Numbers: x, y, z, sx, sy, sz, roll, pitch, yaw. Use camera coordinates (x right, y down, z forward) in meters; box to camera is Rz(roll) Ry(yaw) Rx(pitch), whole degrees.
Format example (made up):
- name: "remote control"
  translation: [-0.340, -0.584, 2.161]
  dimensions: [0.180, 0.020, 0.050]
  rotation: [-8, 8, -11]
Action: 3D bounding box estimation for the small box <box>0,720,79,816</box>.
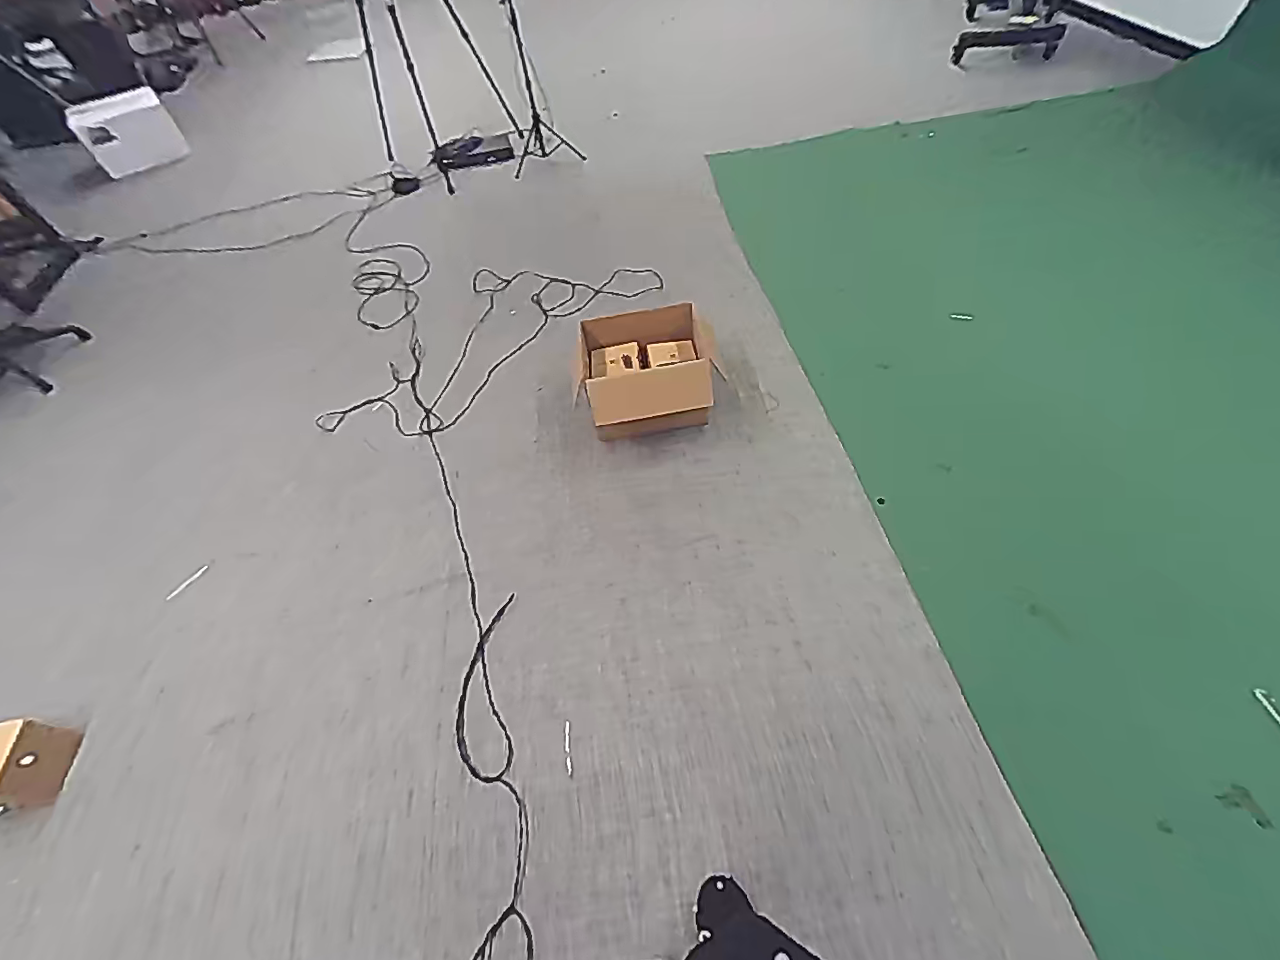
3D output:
- name: "small box"
  translation: [-1.607, 0.735, 1.374]
  dimensions: [0.168, 0.176, 0.179]
  rotation: [-11, 54, -2]
